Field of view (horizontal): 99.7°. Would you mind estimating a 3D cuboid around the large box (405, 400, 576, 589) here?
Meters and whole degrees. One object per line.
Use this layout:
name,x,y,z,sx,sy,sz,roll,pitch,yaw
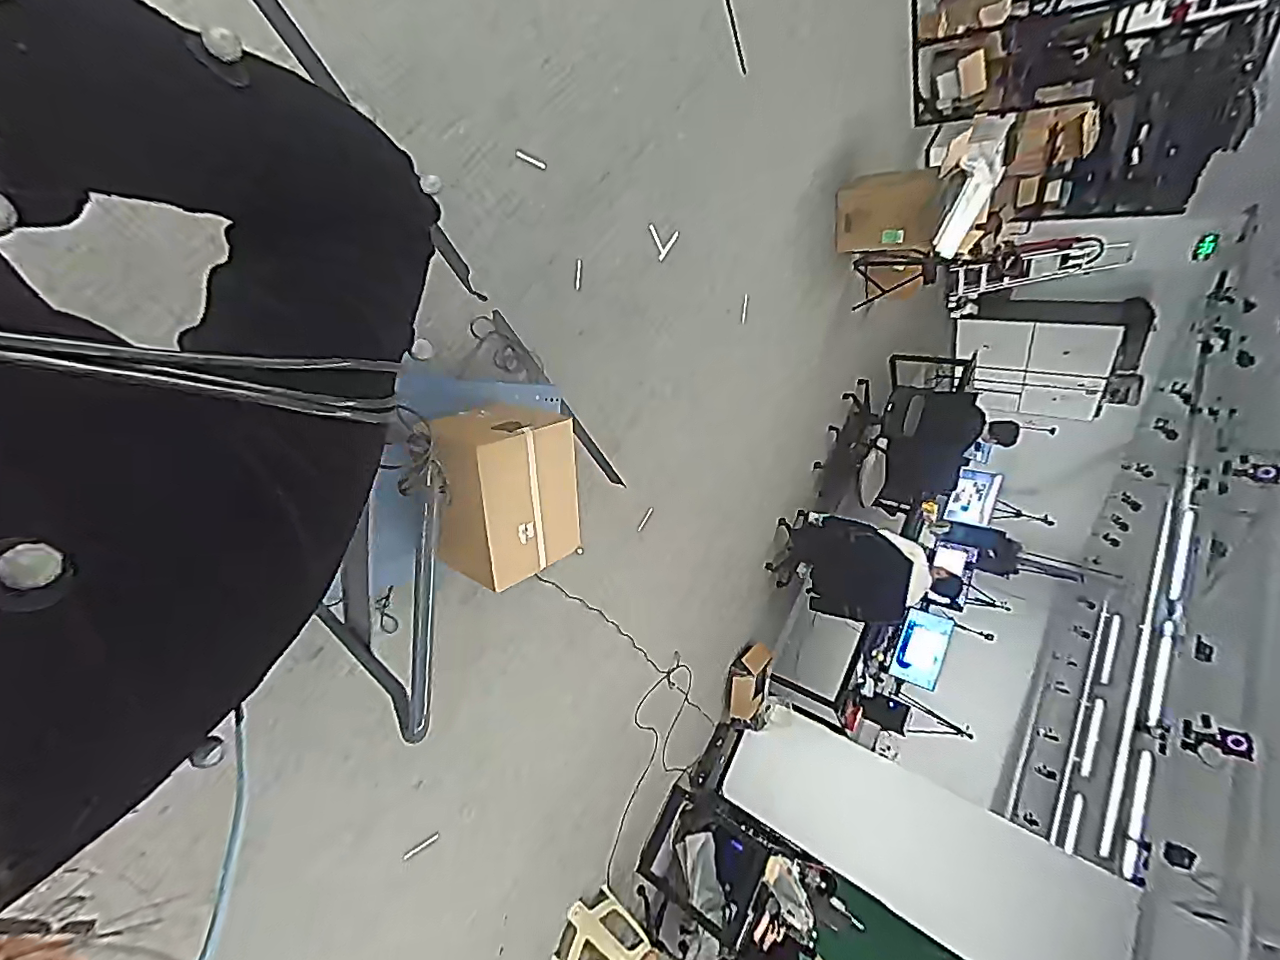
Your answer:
large box,-0.405,0.021,1.509,0.320,0.320,0.408,-25,123,-45
